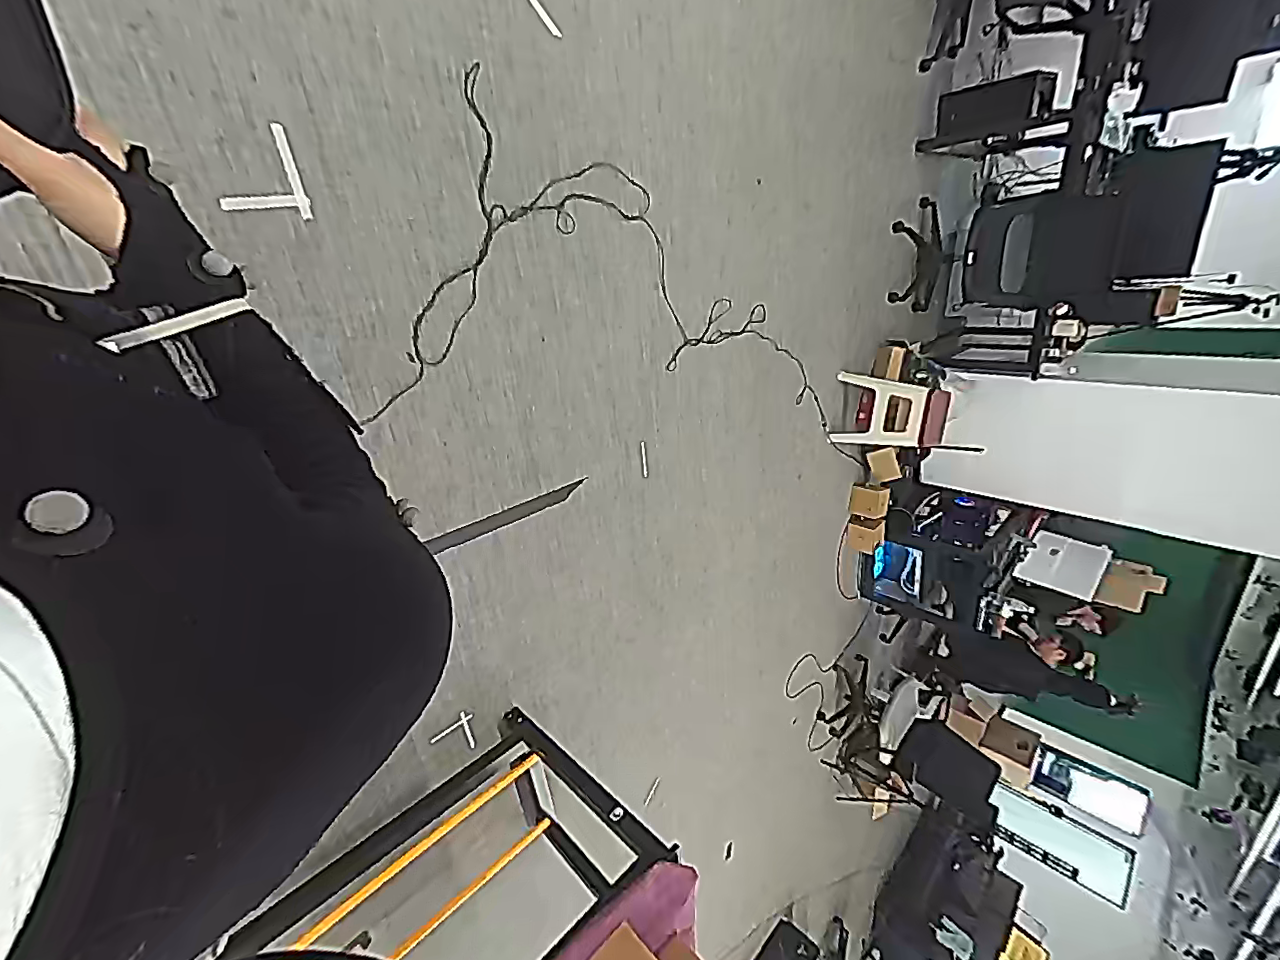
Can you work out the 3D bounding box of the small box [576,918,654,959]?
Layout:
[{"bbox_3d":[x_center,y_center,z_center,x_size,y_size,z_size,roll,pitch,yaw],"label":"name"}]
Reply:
[{"bbox_3d":[-0.049,1.108,1.159,0.179,0.176,0.168,-27,122,-36],"label":"small box"}]
